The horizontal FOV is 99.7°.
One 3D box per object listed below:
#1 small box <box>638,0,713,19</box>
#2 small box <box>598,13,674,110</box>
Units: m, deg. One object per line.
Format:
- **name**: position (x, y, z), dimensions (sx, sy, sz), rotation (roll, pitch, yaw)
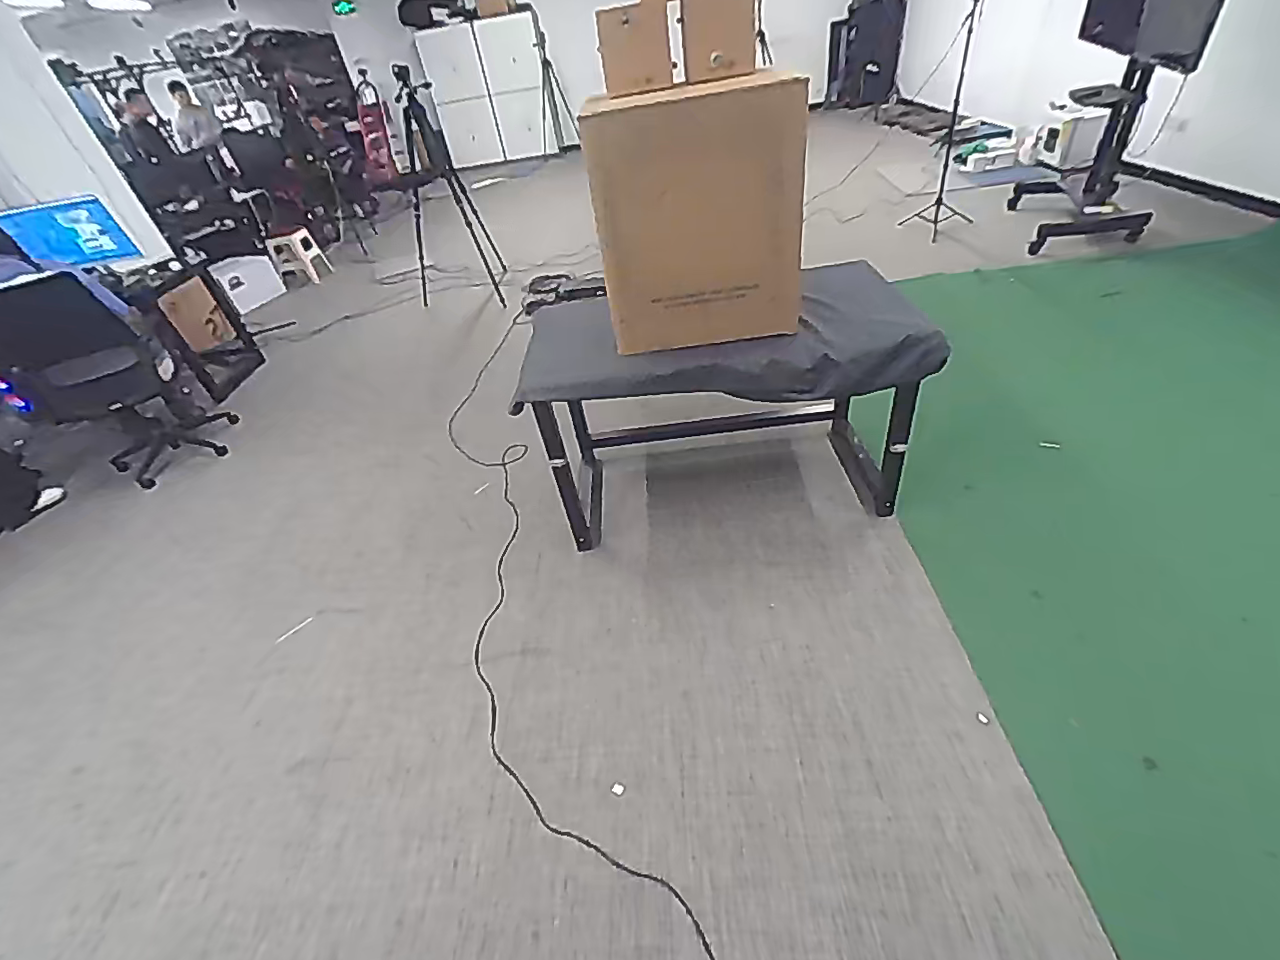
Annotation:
- **small box**: position (0.077, -1.193, 1.265), dimensions (0.179, 0.176, 0.168), rotation (-7, 37, 4)
- **small box**: position (-0.005, -1.046, 1.361), dimensions (0.168, 0.176, 0.179), rotation (-7, 37, 6)
